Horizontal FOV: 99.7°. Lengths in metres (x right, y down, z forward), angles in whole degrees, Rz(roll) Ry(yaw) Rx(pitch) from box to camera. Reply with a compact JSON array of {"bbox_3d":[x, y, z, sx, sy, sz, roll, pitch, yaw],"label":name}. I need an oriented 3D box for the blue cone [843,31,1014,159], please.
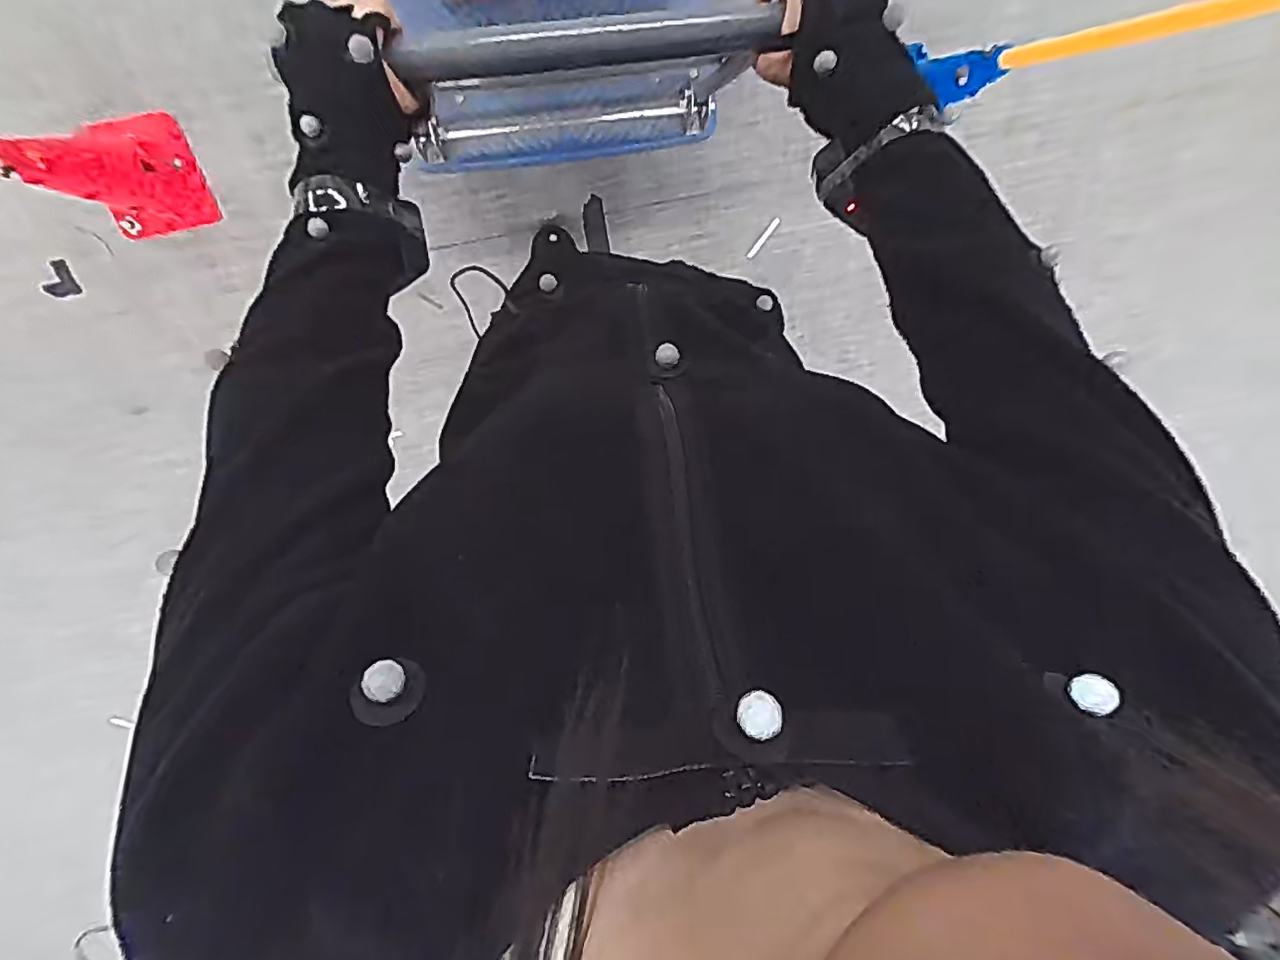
[{"bbox_3d":[0.570,-0.767,1.047,0.193,0.380,0.192,-16,114,-1],"label":"blue cone"}]
